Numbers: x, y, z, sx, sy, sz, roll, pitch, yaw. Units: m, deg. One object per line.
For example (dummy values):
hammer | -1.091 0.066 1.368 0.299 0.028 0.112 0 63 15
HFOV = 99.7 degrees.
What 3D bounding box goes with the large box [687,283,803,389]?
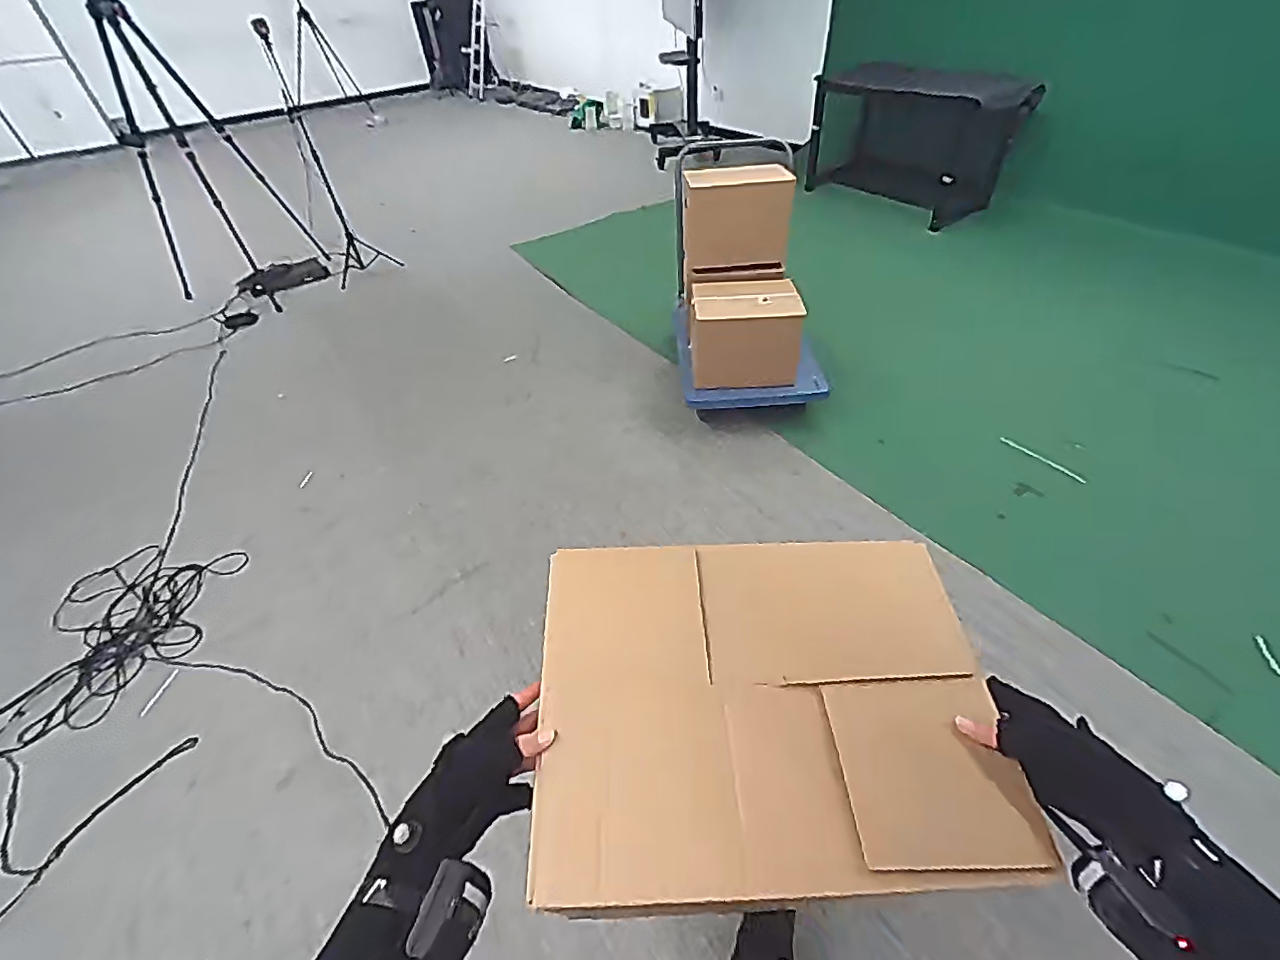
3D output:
large box | 0.402 -0.581 2.180 0.408 0.320 0.320 -1 43 2
